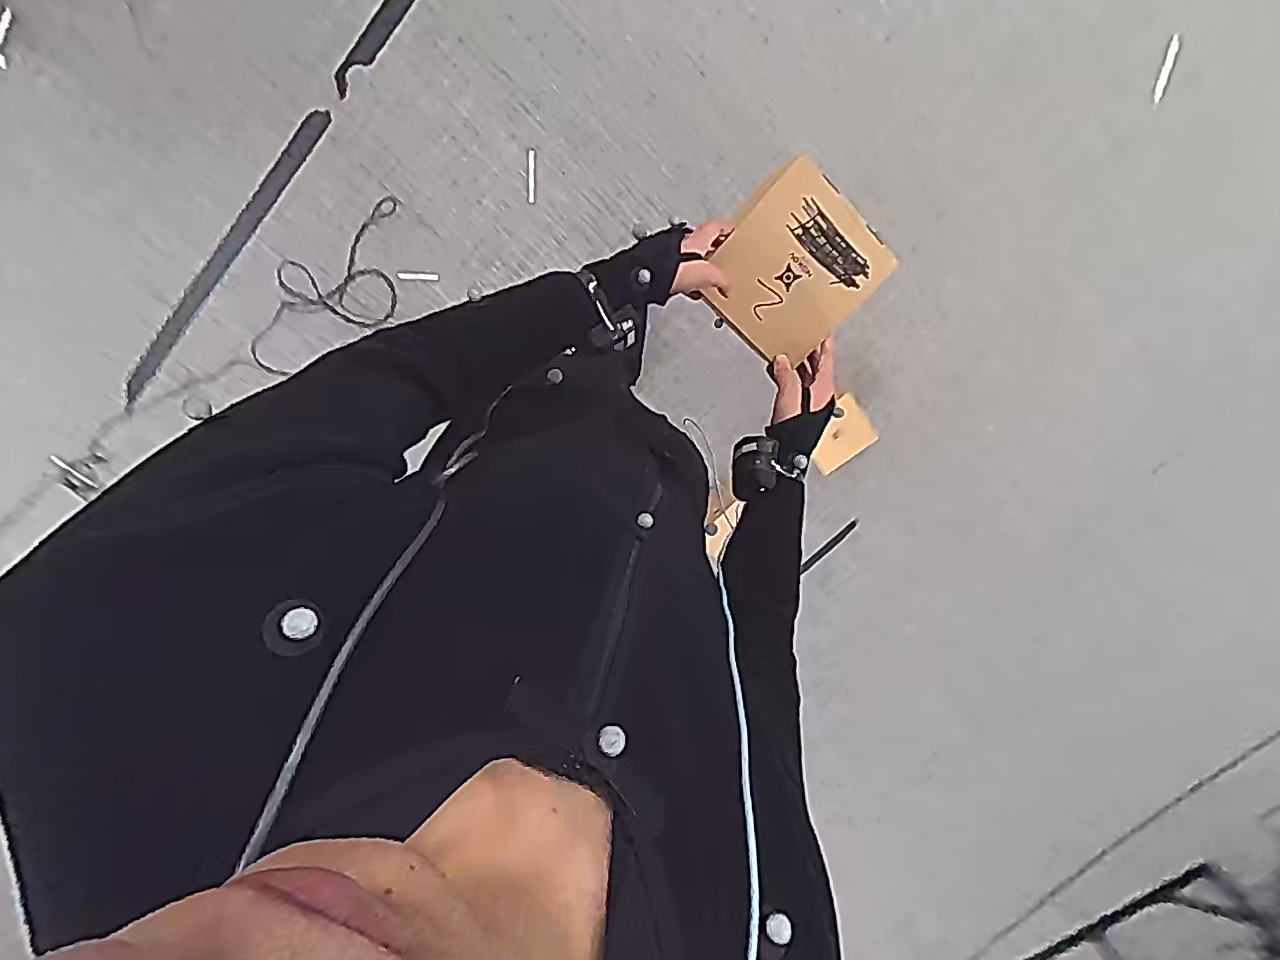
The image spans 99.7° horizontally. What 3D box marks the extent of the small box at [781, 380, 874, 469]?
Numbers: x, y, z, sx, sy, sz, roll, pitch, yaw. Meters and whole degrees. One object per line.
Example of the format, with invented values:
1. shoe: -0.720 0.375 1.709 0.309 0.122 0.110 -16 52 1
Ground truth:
1. small box: 0.528 -0.164 1.556 0.179 0.176 0.168 -37 108 11

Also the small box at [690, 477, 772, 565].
1. small box: 0.269 0.119 1.655 0.168 0.176 0.179 40 106 -15
